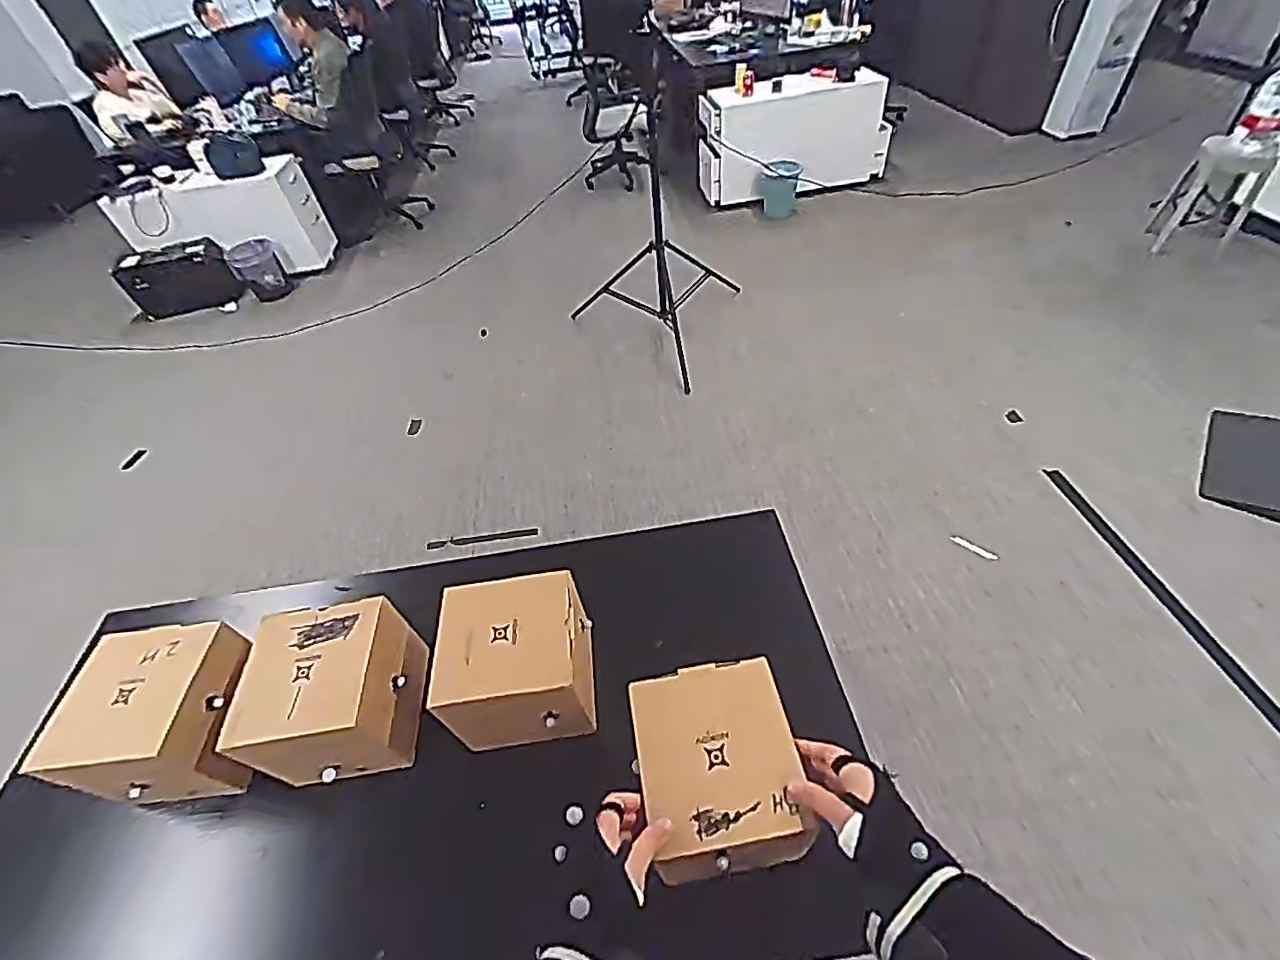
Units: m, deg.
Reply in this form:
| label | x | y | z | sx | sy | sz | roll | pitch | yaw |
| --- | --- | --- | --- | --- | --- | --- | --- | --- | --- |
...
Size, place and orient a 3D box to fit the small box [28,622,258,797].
| label | x | y | z | sx | sy | sz | roll | pitch | yaw |
| --- | --- | --- | --- | --- | --- | --- | --- | --- | --- |
| small box | -0.632 | 0.320 | 0.743 | 0.168 | 0.176 | 0.179 | -6 | 47 | 1 |

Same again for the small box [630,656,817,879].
| label | x | y | z | sx | sy | sz | roll | pitch | yaw |
| --- | --- | --- | --- | --- | --- | --- | --- | --- | --- |
| small box | 0.087 | 0.335 | 0.629 | 0.168 | 0.176 | 0.179 | -11 | 47 | -1 |

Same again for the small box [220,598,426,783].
| label | x | y | z | sx | sy | sz | roll | pitch | yaw |
| --- | --- | --- | --- | --- | --- | --- | --- | --- | --- |
| small box | -0.410 | 0.289 | 0.740 | 0.168 | 0.176 | 0.179 | -9 | 49 | -2 |

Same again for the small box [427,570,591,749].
| label | x | y | z | sx | sy | sz | roll | pitch | yaw |
| --- | --- | --- | --- | --- | --- | --- | --- | --- | --- |
| small box | -0.165 | 0.250 | 0.745 | 0.179 | 0.176 | 0.168 | -10 | 46 | 0 |
